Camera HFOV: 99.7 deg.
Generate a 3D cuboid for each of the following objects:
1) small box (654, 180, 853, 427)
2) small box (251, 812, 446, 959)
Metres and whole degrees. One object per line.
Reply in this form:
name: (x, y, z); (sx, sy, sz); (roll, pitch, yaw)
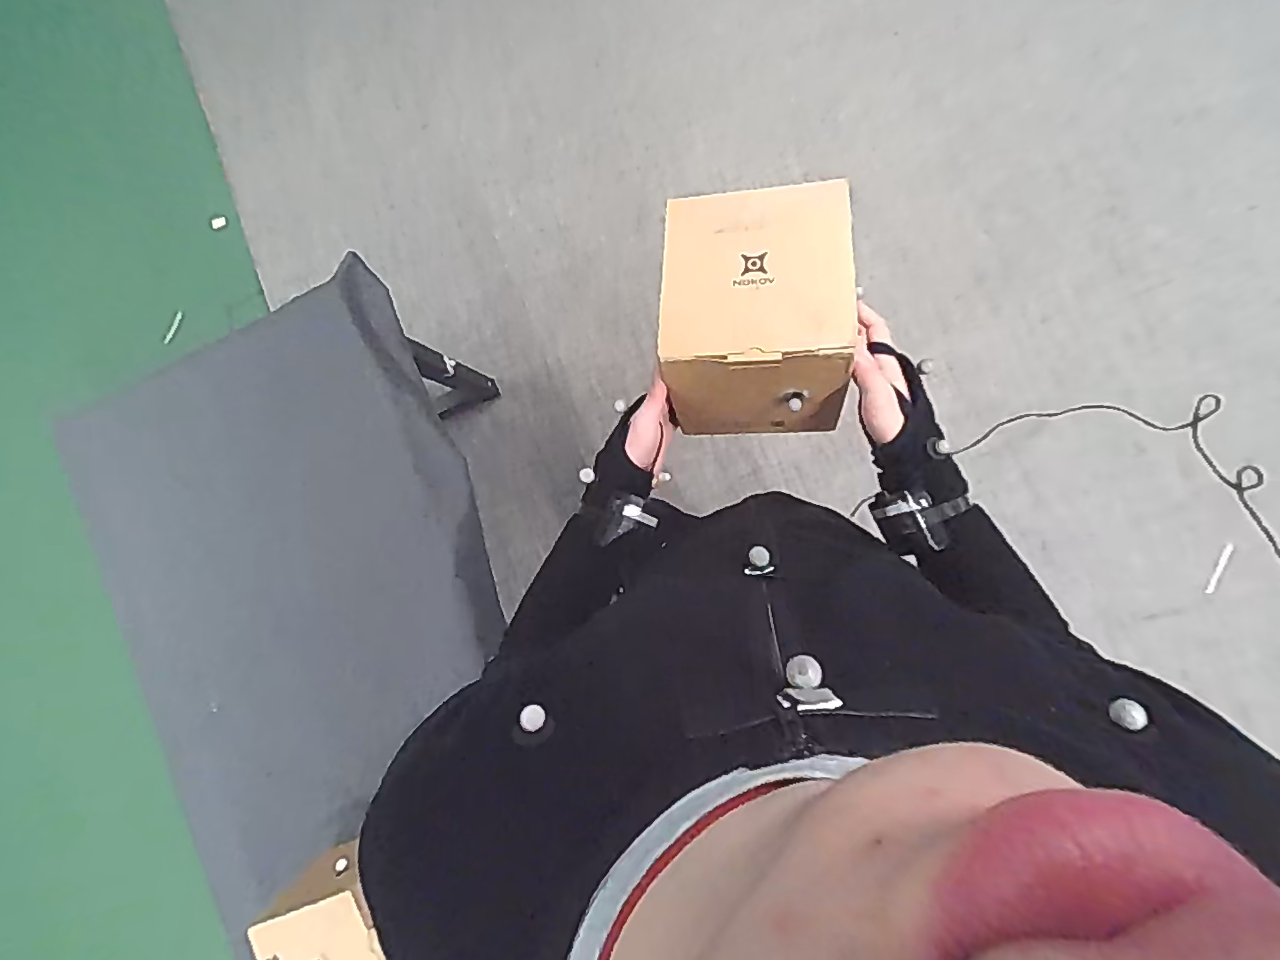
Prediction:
small box: (0.113, -0.160, 0.546); (0.168, 0.176, 0.179); (0, 71, 11)
small box: (-0.416, 0.640, 0.807); (0.179, 0.176, 0.168); (-24, 86, 6)
